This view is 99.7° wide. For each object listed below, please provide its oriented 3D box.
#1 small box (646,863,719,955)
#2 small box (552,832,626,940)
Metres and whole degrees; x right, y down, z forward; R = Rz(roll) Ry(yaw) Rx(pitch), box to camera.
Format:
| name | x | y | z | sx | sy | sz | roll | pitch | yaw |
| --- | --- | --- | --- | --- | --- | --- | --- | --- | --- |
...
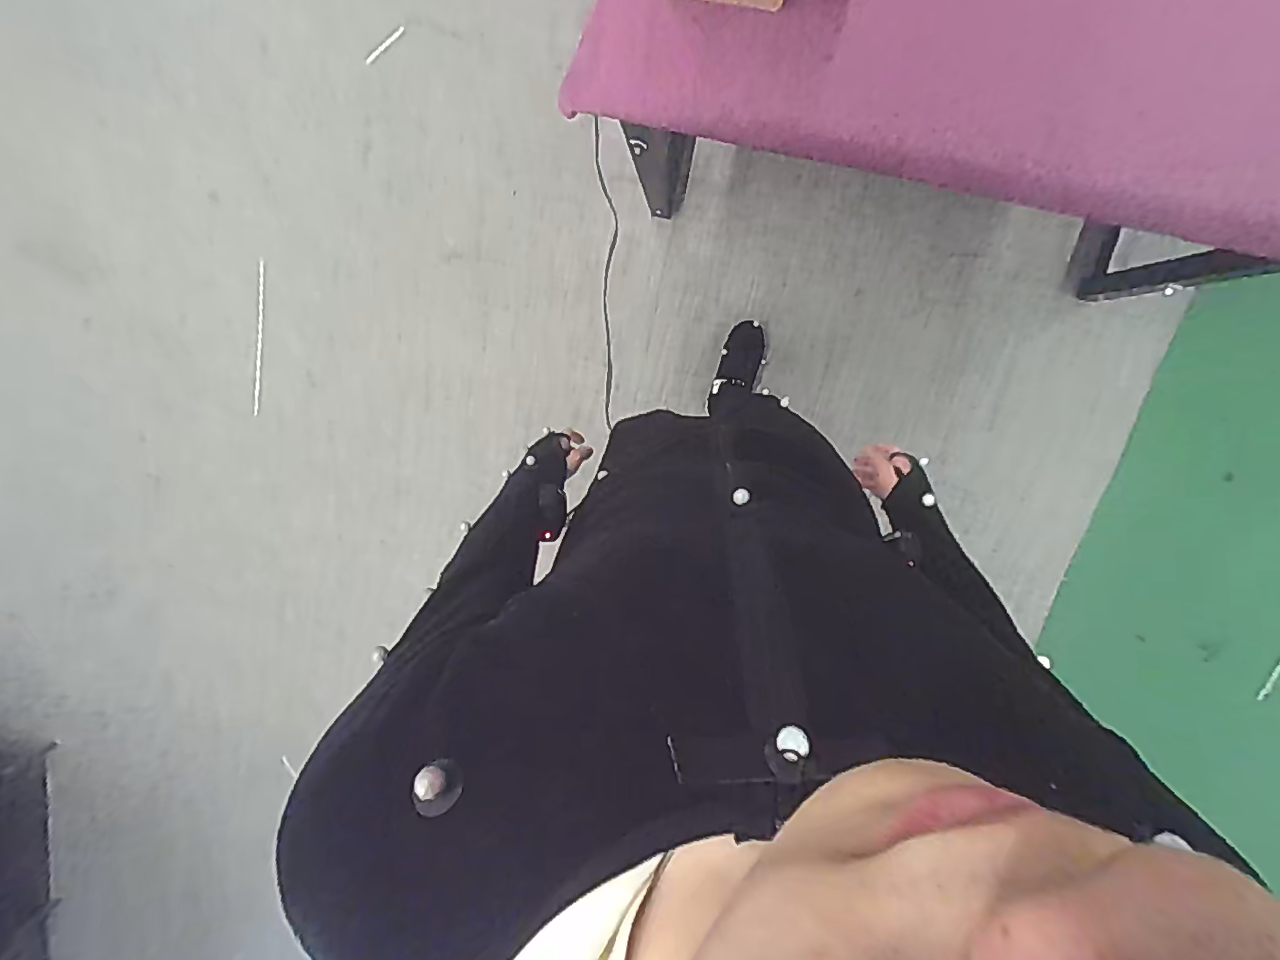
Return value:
| name | x | y | z | sx | sy | sz | roll | pitch | yaw |
| --- | --- | --- | --- | --- | --- | --- | --- | --- | --- |
| small box | 0.131 | 1.287 | 1.588 | 0.168 | 0.176 | 0.179 | 19 | 104 | 4 |
| small box | -0.144 | 1.191 | 1.599 | 0.168 | 0.176 | 0.179 | 18 | 105 | 1 |
